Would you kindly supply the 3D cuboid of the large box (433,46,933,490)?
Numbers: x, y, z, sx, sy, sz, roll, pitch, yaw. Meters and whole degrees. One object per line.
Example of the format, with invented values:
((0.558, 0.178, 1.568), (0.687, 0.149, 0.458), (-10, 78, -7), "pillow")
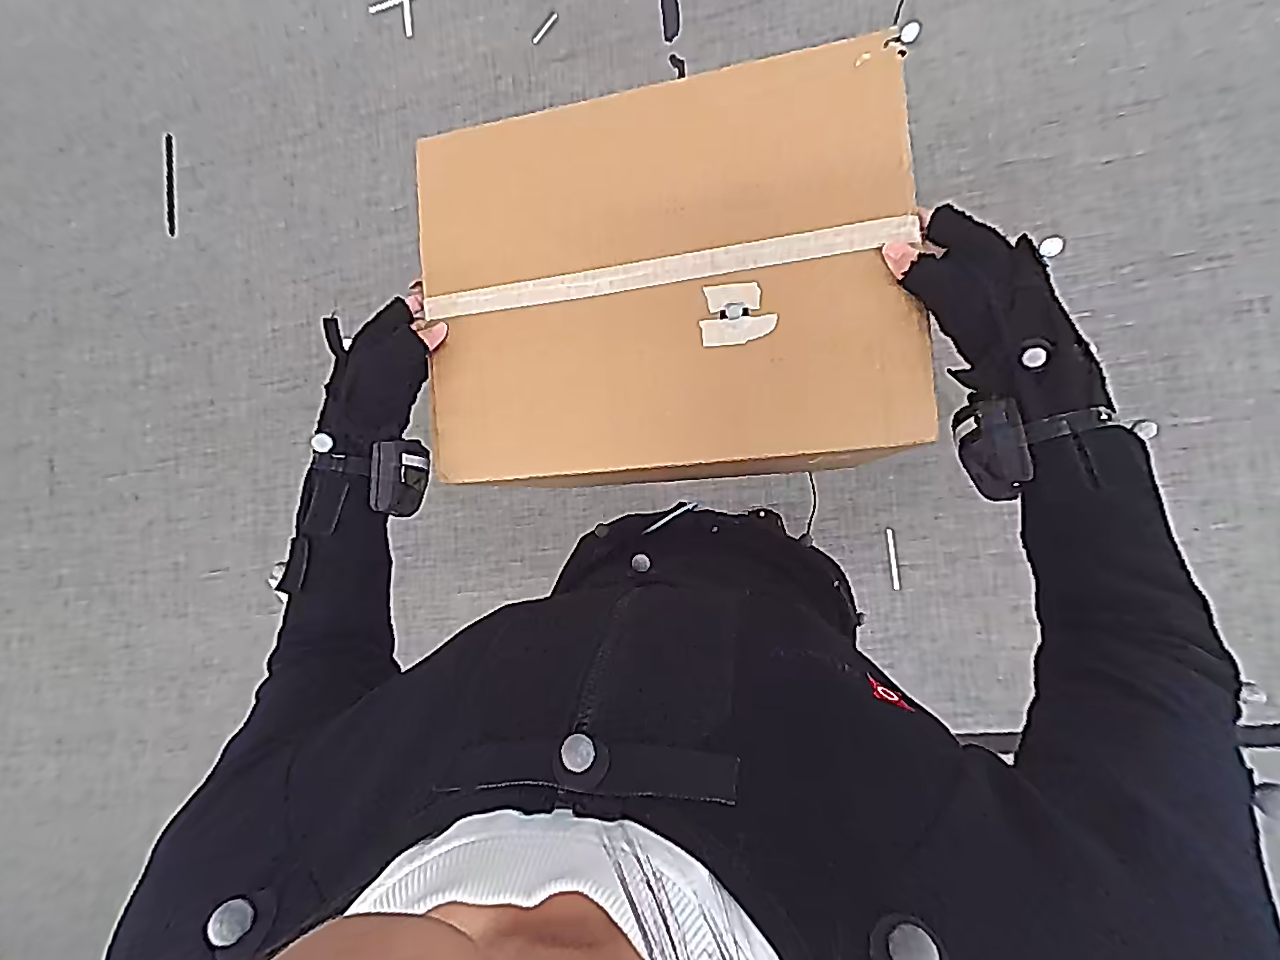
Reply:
((0.043, -0.163, 0.598), (0.408, 0.320, 0.320), (-5, 88, 11), "large box")
